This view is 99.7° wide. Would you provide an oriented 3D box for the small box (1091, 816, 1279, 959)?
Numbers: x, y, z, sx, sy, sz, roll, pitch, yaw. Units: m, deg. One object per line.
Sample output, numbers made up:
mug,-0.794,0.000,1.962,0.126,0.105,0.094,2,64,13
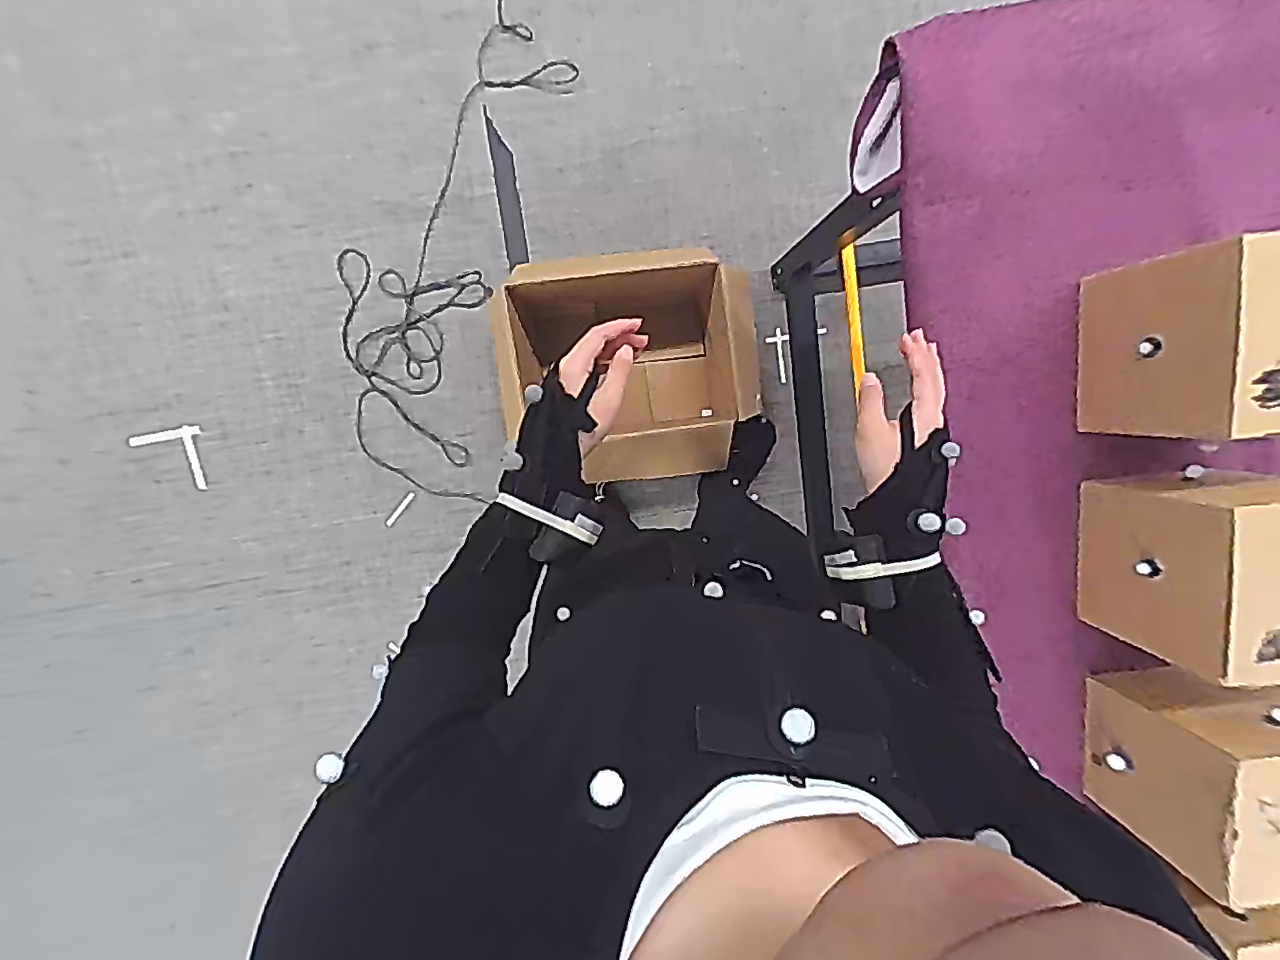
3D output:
small box,0.690,0.532,0.637,0.179,0.176,0.168,-5,98,-2
